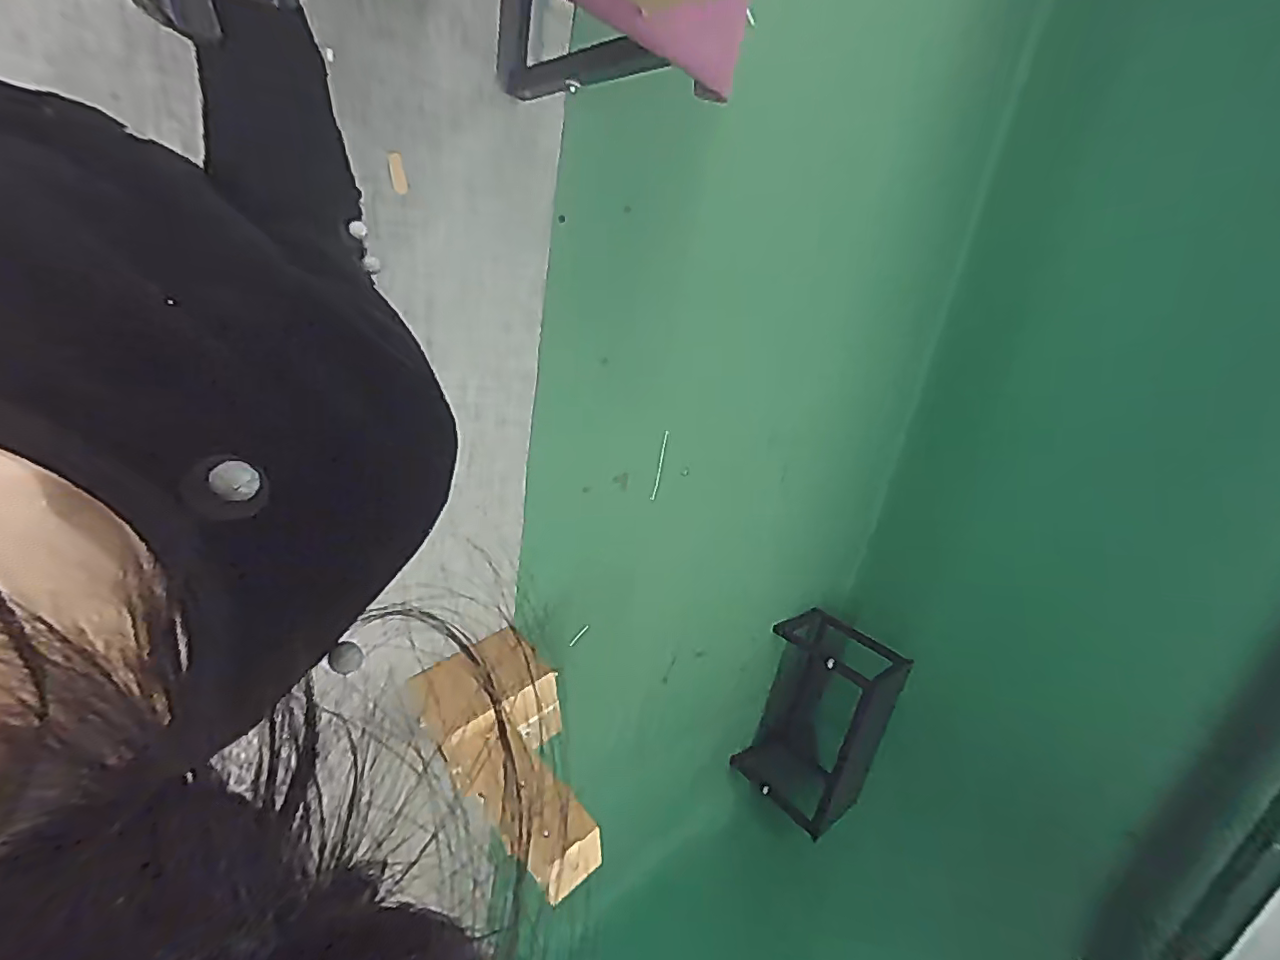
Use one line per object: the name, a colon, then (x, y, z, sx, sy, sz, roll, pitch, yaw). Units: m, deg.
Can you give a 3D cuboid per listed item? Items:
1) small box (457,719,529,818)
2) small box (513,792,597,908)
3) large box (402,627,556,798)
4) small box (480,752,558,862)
small box: (-0.464, 0.899, 1.701, 0.179, 0.176, 0.168, -18, 122, -38)
small box: (-0.237, 1.005, 1.490, 0.168, 0.176, 0.179, -22, 124, -36)
large box: (-0.562, 0.804, 1.922, 0.408, 0.320, 0.320, -24, 127, -36)
small box: (-0.355, 0.954, 1.591, 0.179, 0.176, 0.168, -24, 125, -37)
